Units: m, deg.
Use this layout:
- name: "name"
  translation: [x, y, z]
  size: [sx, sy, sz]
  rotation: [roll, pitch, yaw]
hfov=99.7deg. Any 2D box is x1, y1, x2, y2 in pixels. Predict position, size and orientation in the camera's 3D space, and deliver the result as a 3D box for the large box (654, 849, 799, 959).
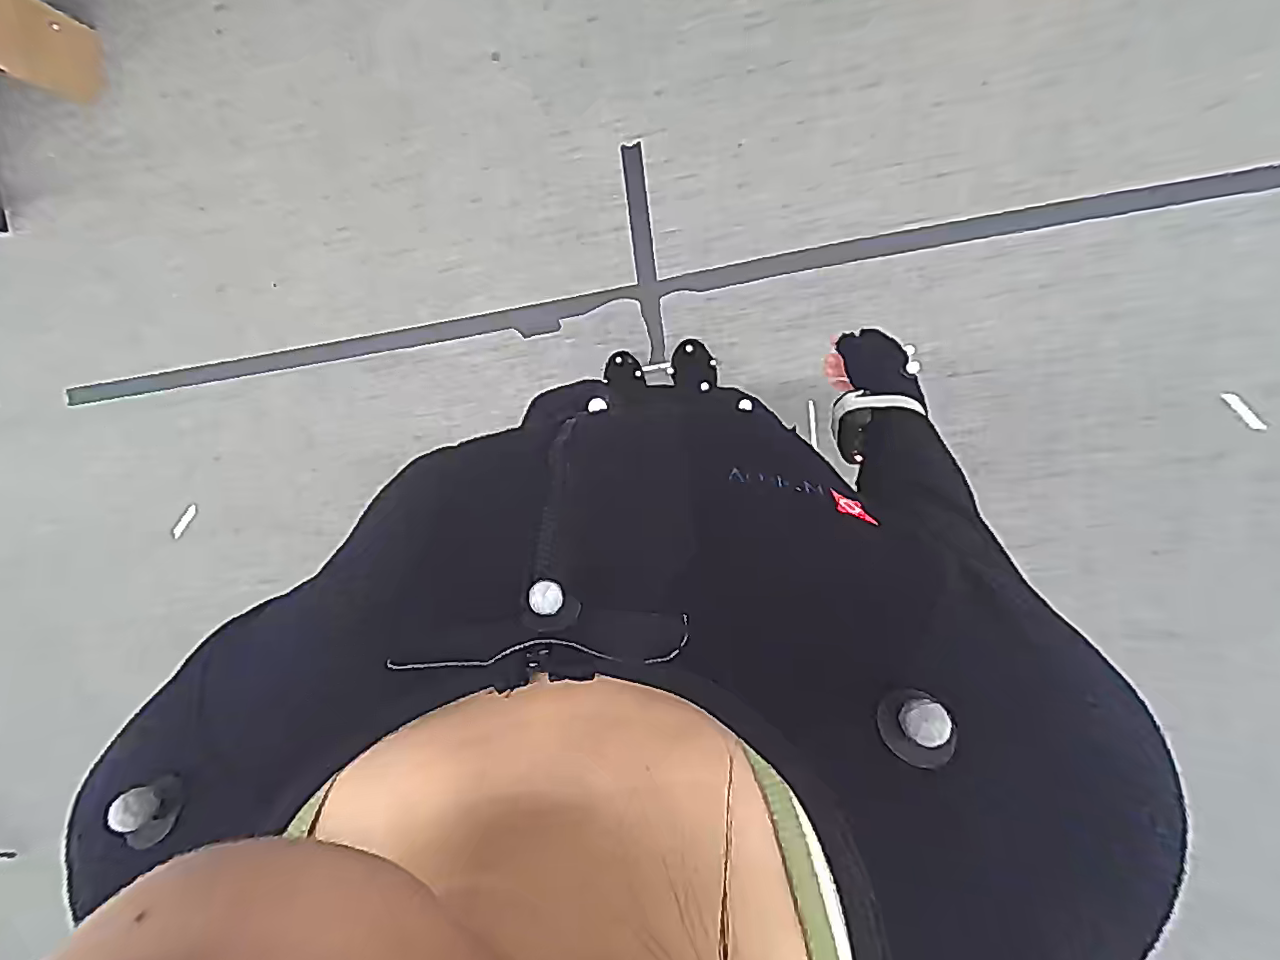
- name: "large box"
  translation: [0.255, 1.393, 1.659]
  size: [0.408, 0.320, 0.320]
  rotation: [0, 102, 5]
